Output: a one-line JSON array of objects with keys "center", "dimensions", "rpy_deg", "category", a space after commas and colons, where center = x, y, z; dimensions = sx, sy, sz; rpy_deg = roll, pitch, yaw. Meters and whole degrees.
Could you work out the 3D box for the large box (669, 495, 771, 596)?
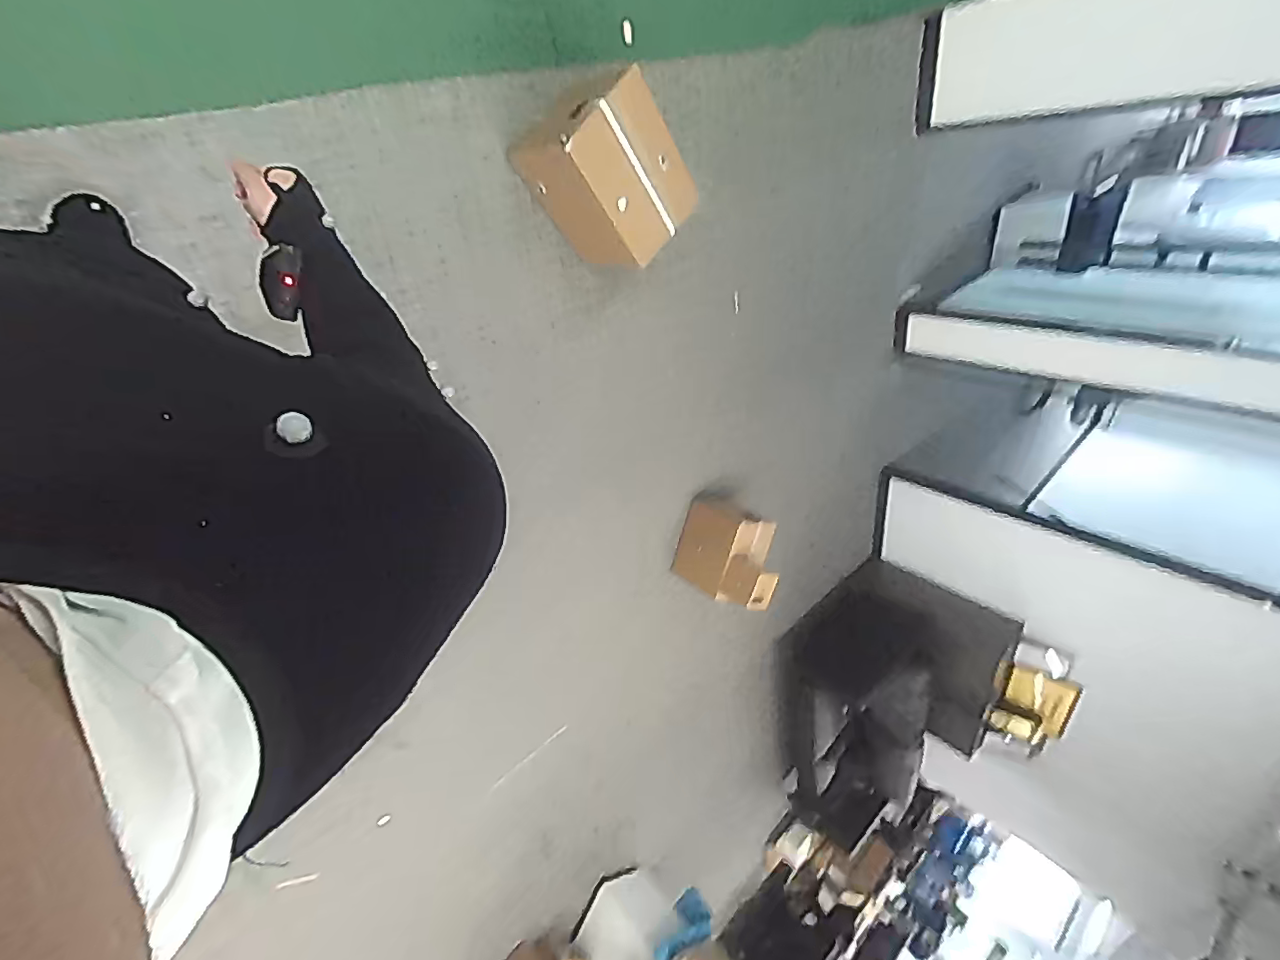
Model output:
[{"center": [0.390, 0.316, 2.698], "dimensions": [0.320, 0.320, 0.408], "rpy_deg": [3, 107, -45], "category": "large box"}]
